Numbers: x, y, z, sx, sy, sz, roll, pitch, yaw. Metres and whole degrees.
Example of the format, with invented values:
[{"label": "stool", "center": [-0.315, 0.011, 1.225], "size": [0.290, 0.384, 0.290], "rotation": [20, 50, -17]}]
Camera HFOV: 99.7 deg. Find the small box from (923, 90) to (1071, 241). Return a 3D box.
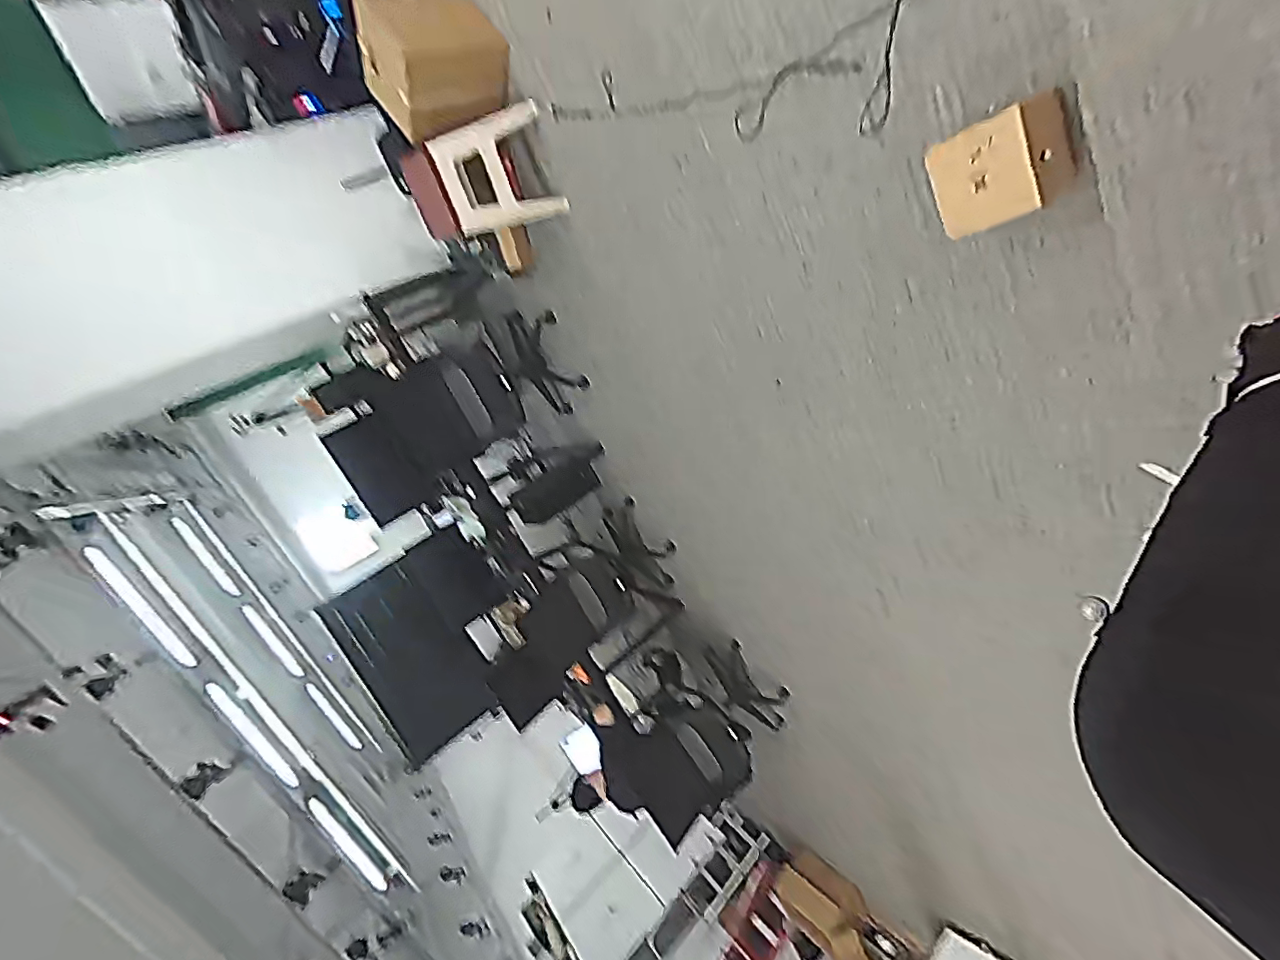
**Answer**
[{"label": "small box", "center": [0.678, -0.590, 1.023], "size": [0.168, 0.176, 0.179], "rotation": [0, 122, 58]}]
